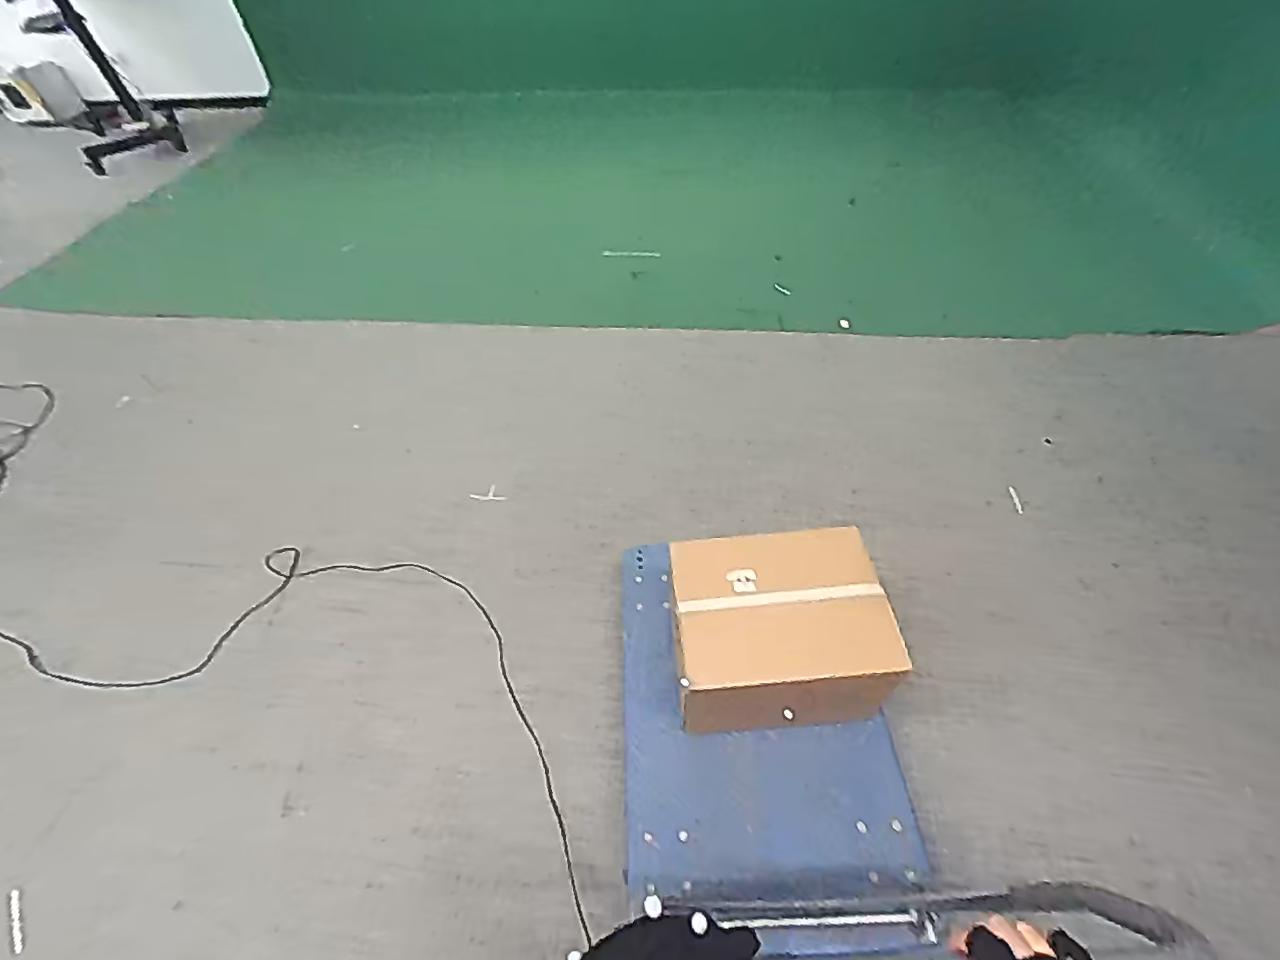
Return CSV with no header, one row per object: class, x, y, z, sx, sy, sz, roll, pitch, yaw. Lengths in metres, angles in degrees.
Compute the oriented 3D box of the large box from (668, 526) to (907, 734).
large box,0.283,0.333,1.177,0.408,0.320,0.320,-7,50,0
